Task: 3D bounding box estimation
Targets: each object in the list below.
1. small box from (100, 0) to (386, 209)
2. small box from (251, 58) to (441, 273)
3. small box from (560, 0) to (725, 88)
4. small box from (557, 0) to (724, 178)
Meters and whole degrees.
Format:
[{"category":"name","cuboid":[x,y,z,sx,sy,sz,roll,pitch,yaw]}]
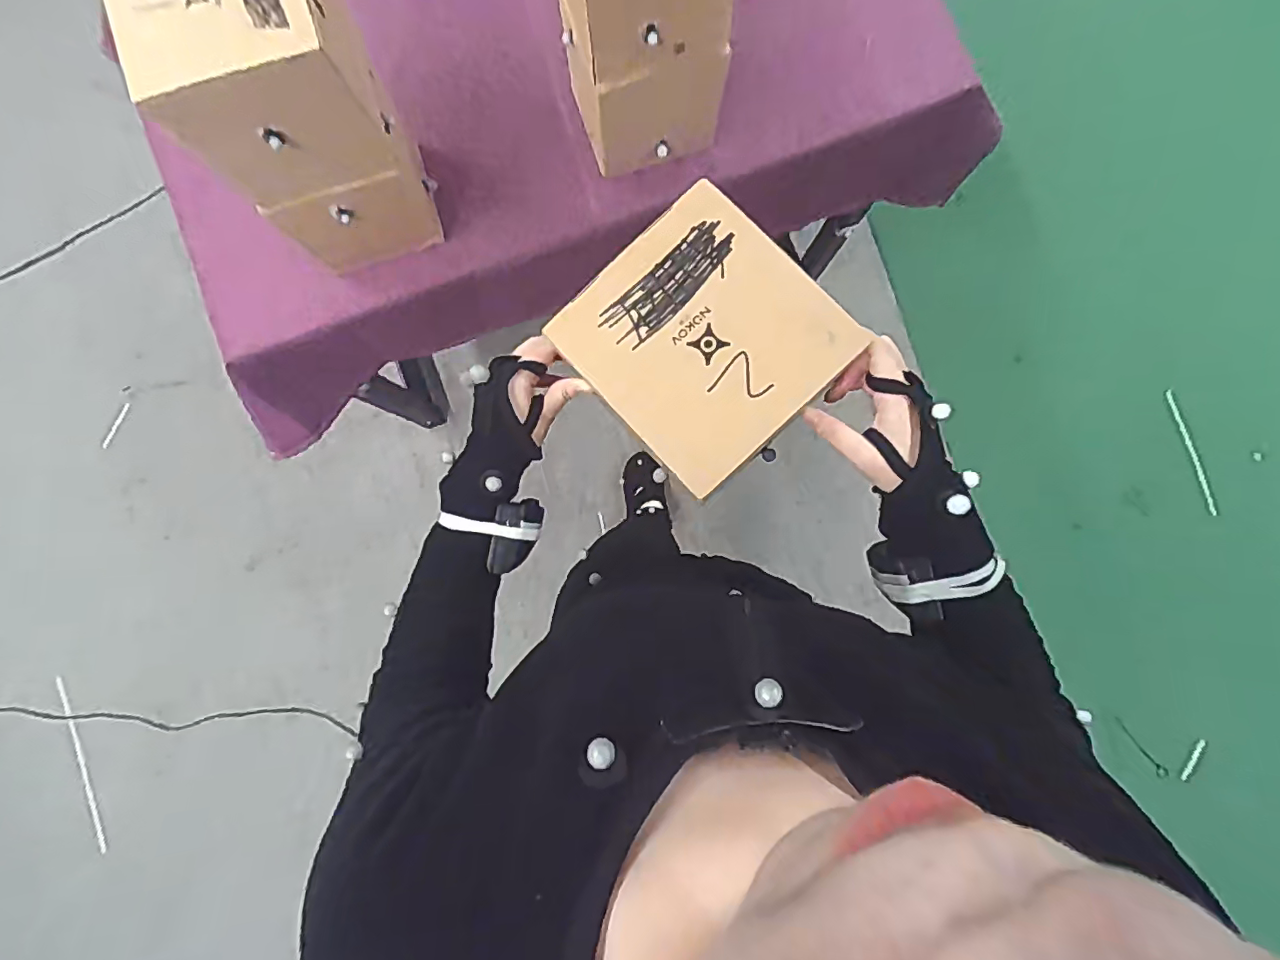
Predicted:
[{"category":"small box","cuboid":[-0.391,-0.422,0.563,0.179,0.176,0.168,-18,87,-1]},{"category":"small box","cuboid":[-0.397,-0.406,0.726,0.179,0.176,0.168,-18,87,-3]},{"category":"small box","cuboid":[-0.009,-0.579,0.579,0.168,0.176,0.179,-18,87,-1]},{"category":"small box","cuboid":[-0.005,-0.557,0.741,0.179,0.176,0.168,-19,86,-2]}]
